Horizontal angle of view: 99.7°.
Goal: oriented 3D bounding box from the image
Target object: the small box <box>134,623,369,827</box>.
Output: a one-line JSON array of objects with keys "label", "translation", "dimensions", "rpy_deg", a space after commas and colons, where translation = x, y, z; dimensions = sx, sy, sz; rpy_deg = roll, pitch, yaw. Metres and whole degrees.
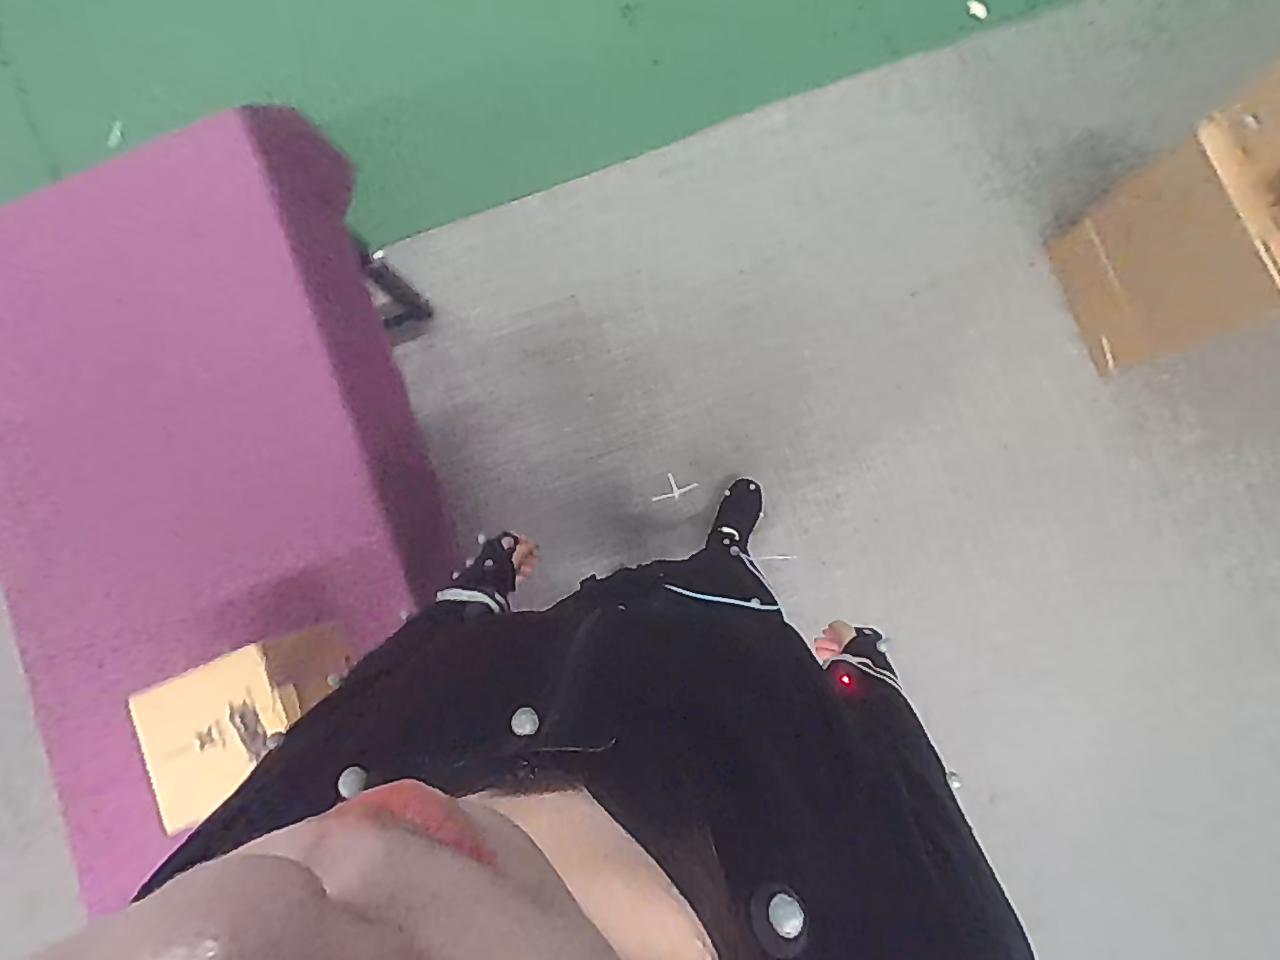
[{"label": "small box", "translation": [-0.494, 0.308, 0.719], "dimensions": [0.179, 0.176, 0.168], "rpy_deg": [-24, 84, 3]}]
